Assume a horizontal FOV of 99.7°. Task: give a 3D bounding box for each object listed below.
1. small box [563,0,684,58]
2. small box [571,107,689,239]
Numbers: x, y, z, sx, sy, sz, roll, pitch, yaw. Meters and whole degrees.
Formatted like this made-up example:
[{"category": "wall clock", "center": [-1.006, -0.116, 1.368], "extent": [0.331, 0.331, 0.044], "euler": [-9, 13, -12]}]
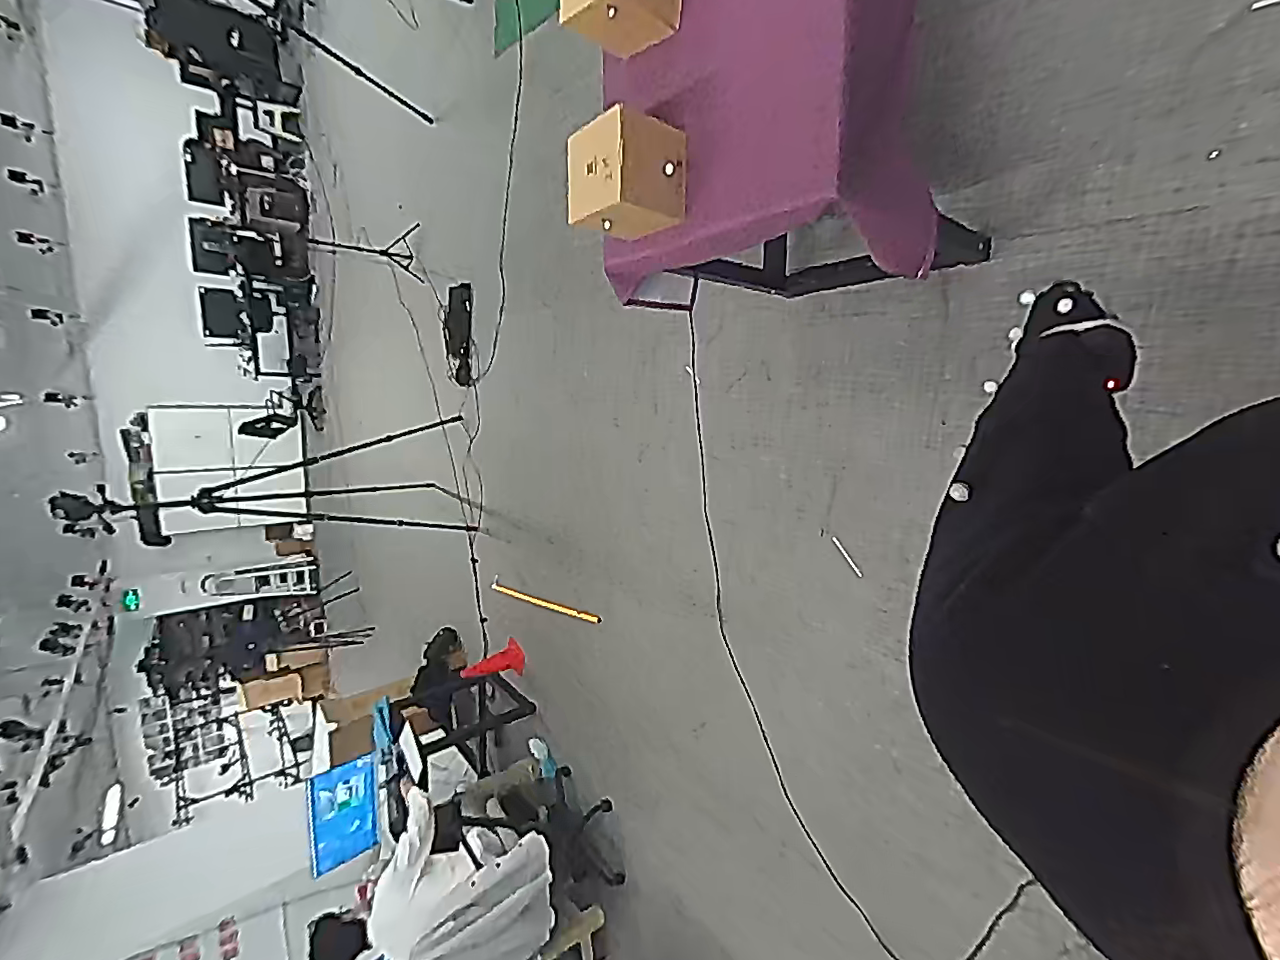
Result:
[{"category": "small box", "center": [-0.028, -0.968, 1.052], "extent": [0.179, 0.176, 0.168], "euler": [20, 110, 46]}, {"category": "small box", "center": [-0.023, -0.602, 1.089], "extent": [0.179, 0.176, 0.168], "euler": [10, 102, 49]}]
